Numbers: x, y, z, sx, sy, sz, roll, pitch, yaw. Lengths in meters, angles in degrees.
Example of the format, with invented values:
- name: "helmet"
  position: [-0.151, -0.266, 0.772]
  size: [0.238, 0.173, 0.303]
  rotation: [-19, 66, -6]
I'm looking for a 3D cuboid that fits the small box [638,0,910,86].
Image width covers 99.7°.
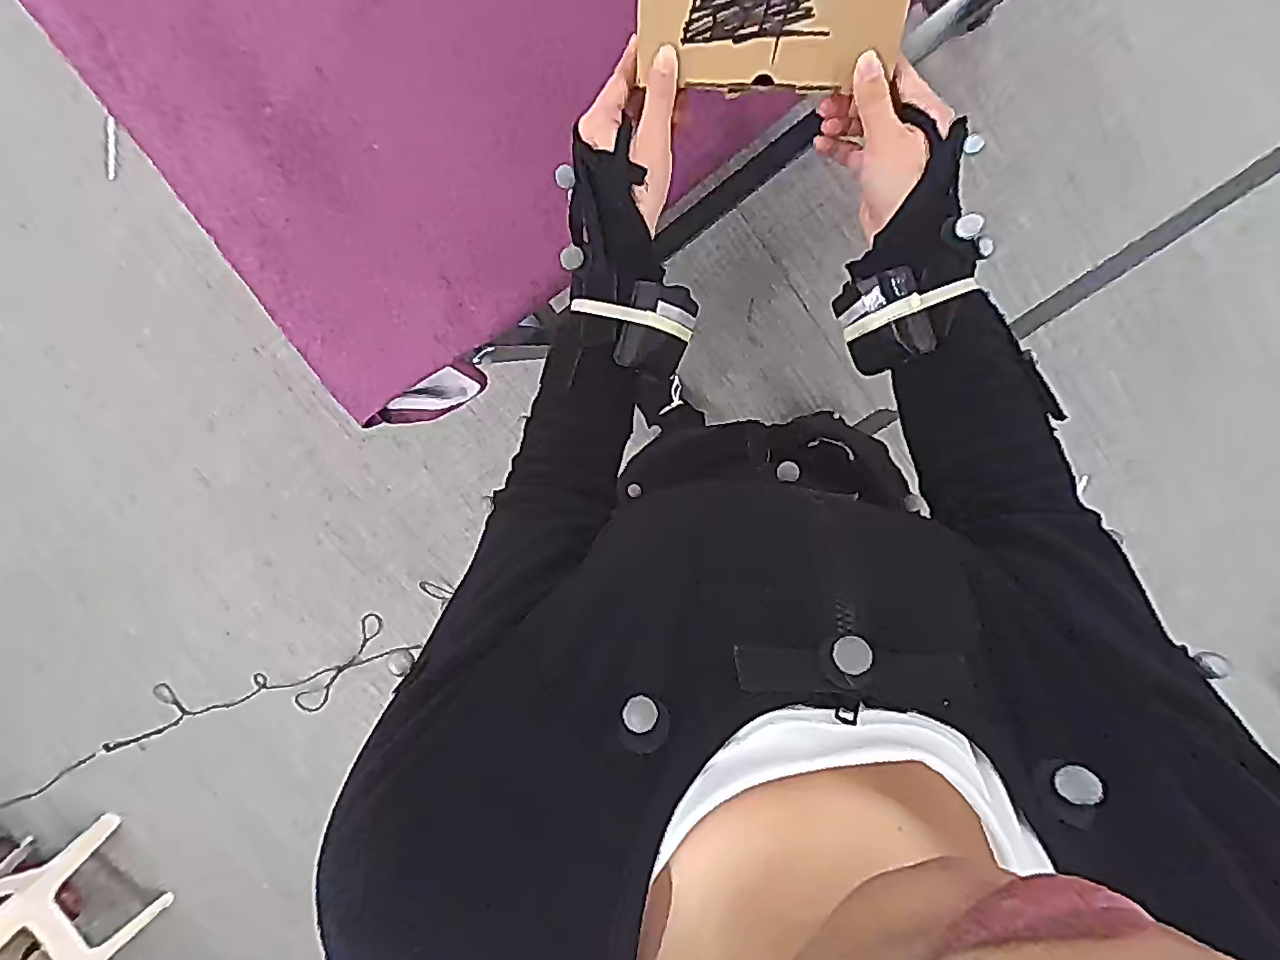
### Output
- name: "small box"
  position: [0.087, -0.377, 0.364]
  size: [0.168, 0.176, 0.179]
  rotation: [2, 125, 1]
